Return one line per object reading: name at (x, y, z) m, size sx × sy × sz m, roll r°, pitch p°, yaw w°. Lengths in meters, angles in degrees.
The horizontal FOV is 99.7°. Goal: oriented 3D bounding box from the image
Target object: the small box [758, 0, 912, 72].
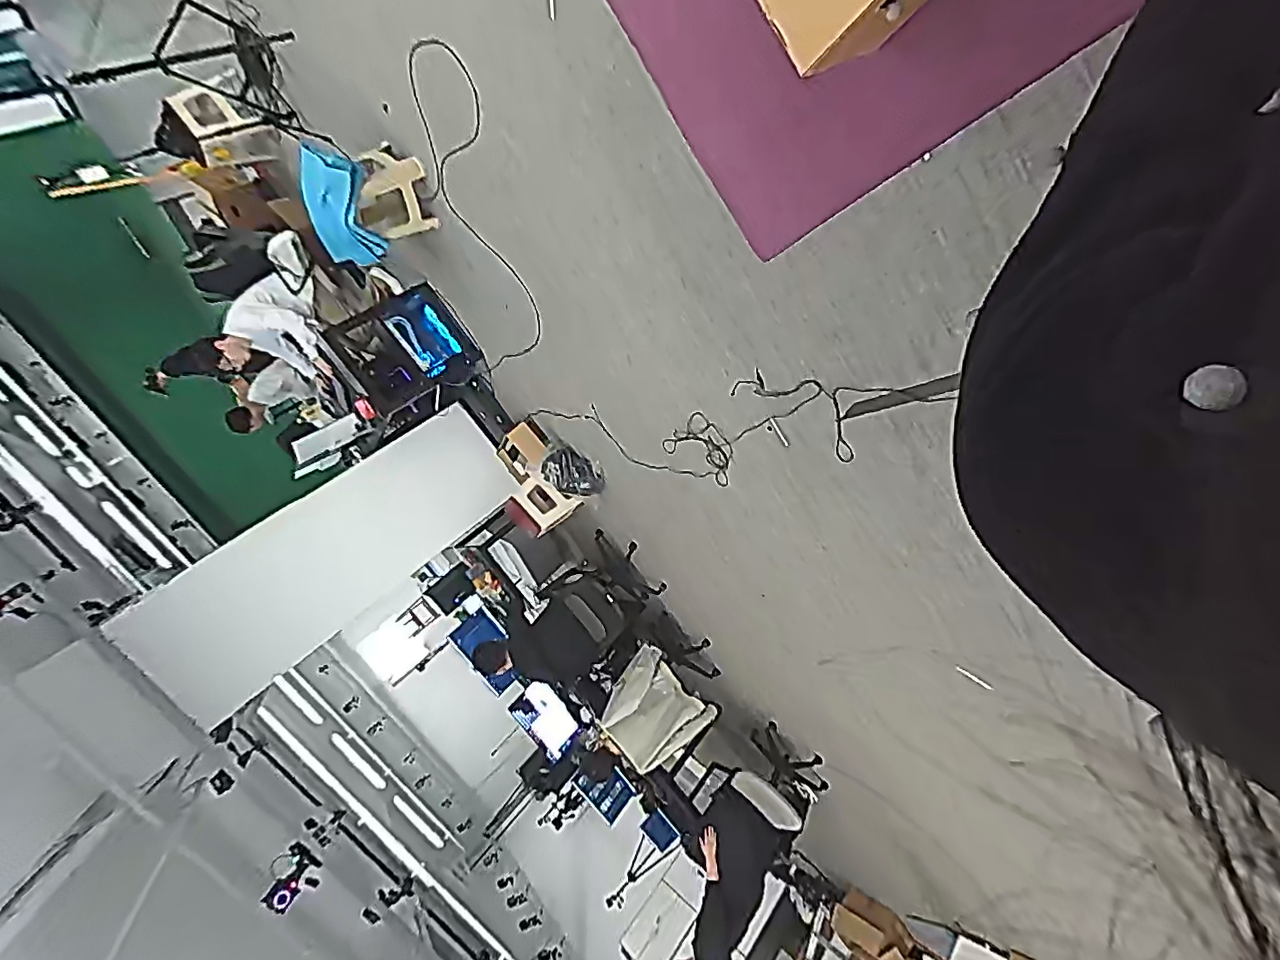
small box at (0.205, -0.526, 0.483) m, size 0.168 × 0.176 × 0.179 m, roll 55°, pitch 151°, yaw -11°
